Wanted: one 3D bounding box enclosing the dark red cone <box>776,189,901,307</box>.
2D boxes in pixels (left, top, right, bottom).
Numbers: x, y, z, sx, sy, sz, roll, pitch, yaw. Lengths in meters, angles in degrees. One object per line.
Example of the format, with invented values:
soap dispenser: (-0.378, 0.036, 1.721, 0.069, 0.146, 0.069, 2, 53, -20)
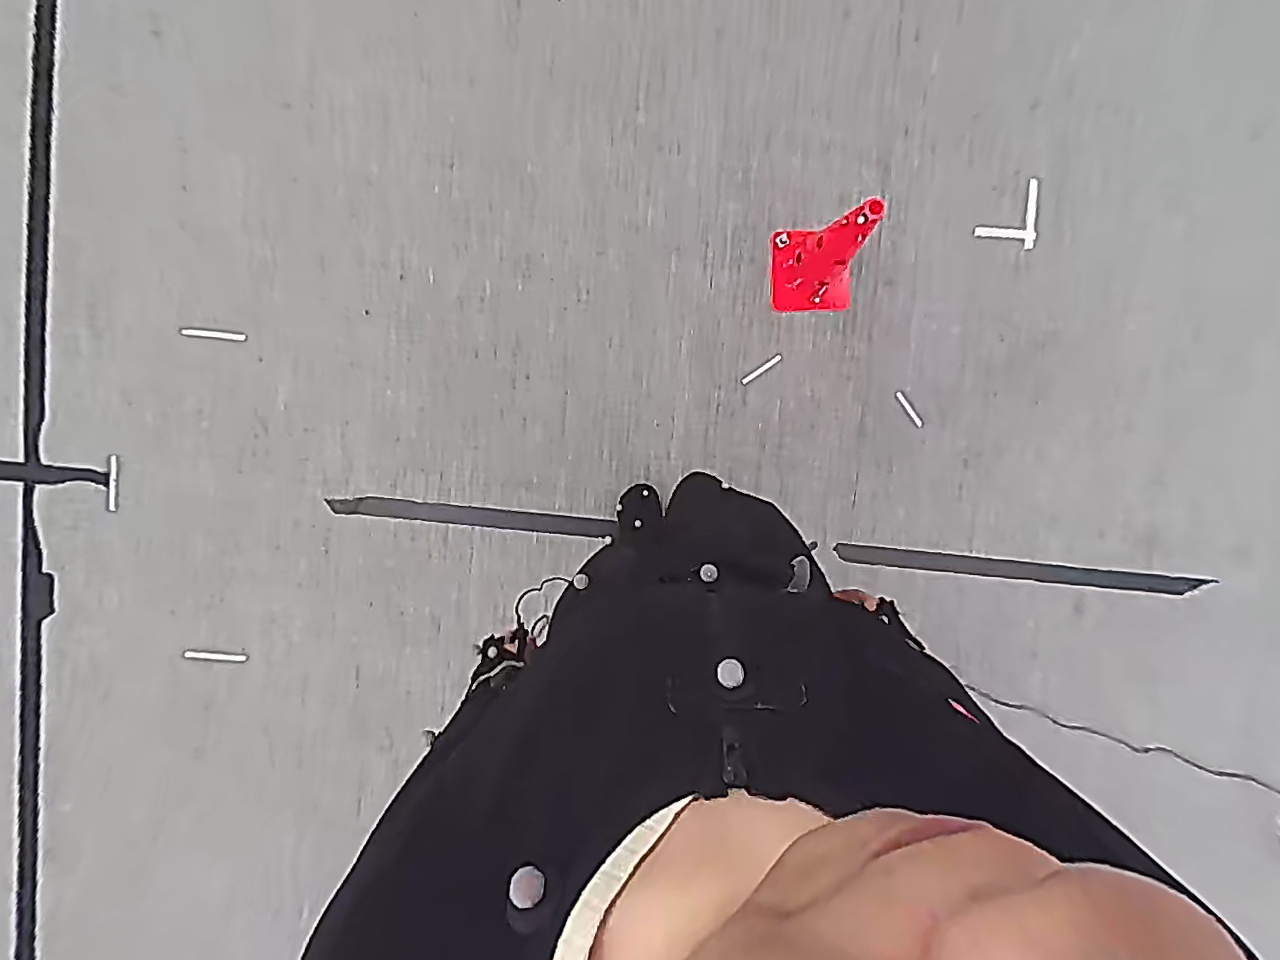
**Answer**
dark red cone: (0.435, -0.515, 1.156, 0.202, 0.394, 0.201, -3, 94, -2)
